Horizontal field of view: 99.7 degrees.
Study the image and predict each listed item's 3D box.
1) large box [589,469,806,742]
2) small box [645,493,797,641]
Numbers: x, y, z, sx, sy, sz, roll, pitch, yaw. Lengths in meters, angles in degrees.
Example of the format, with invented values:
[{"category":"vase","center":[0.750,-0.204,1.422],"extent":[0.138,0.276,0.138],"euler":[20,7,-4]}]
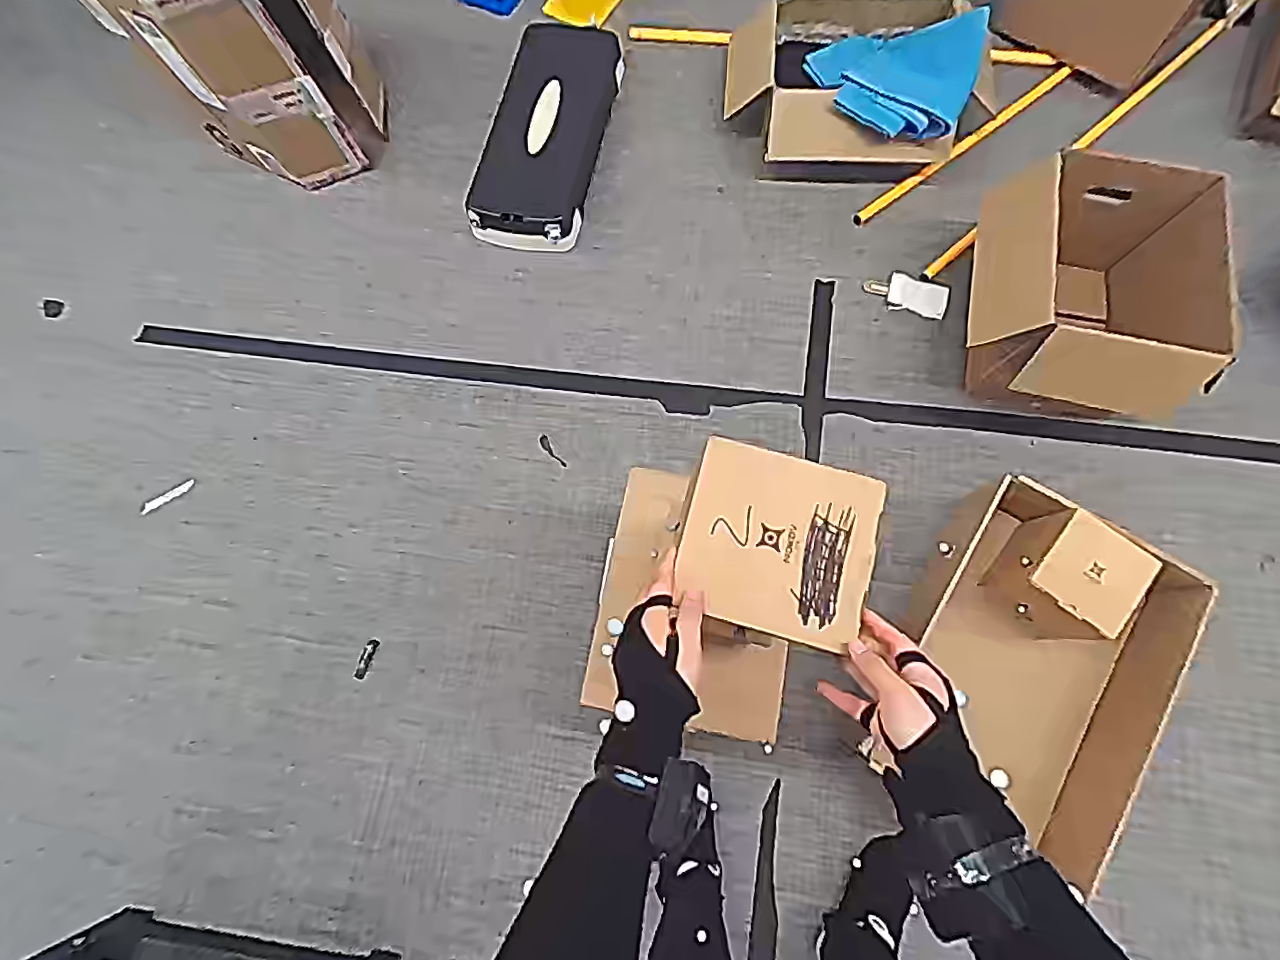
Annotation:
[{"category":"large box","center":[0.108,0.226,1.035],"extent":[0.320,0.320,0.408],"euler":[9,77,7]},{"category":"small box","center":[0.113,0.134,0.803],"extent":[0.179,0.176,0.168],"euler":[14,77,6]}]
